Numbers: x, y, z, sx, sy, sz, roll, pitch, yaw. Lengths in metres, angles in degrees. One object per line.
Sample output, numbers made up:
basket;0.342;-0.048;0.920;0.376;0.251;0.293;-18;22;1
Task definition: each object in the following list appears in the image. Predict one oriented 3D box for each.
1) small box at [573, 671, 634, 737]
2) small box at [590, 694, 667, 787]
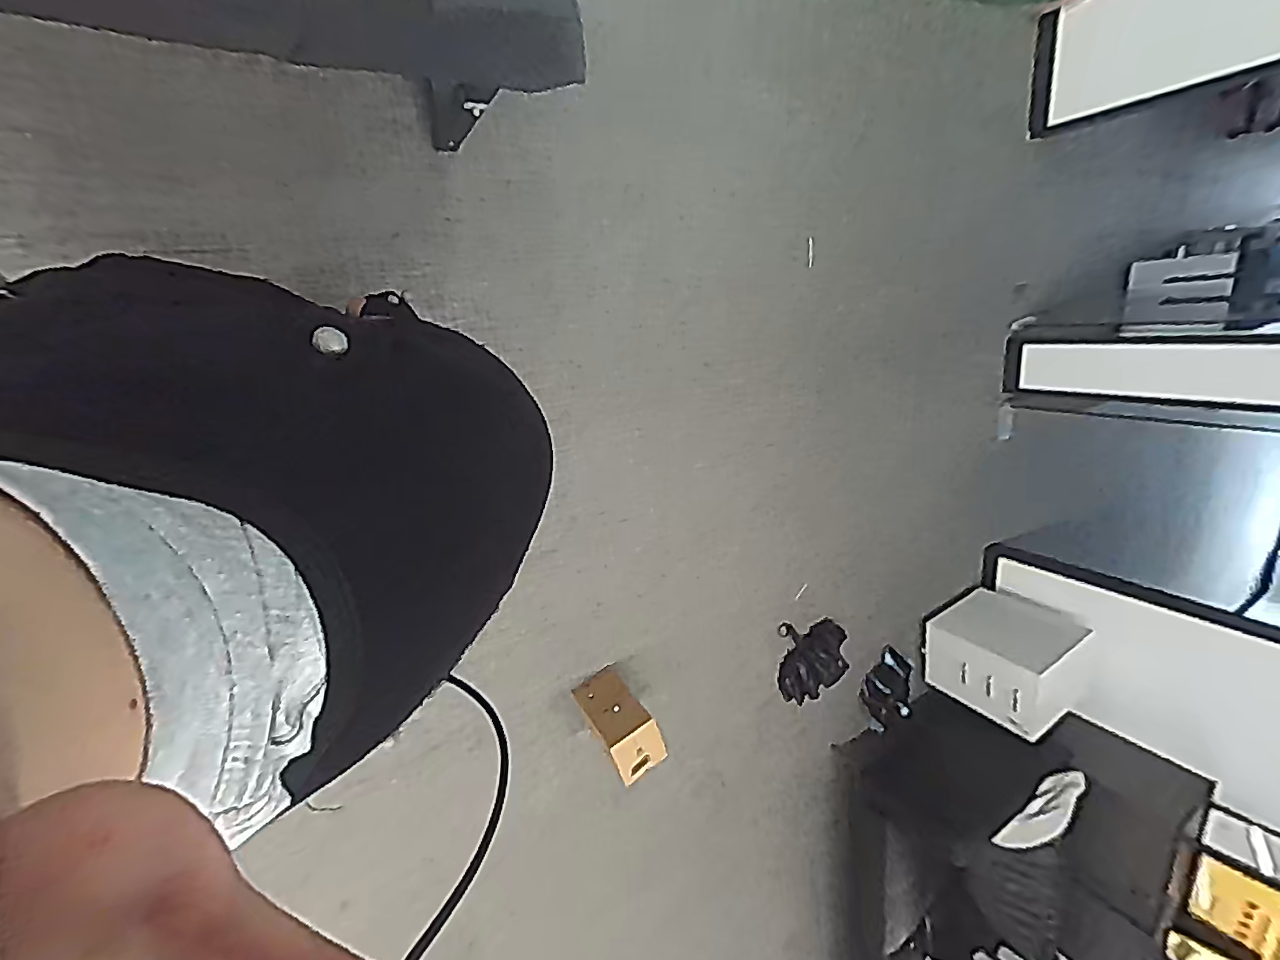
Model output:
small box;-0.116;0.805;1.906;0.168;0.176;0.179;-28;117;-21
small box;-0.041;0.841;1.764;0.168;0.176;0.179;-27;114;-21
